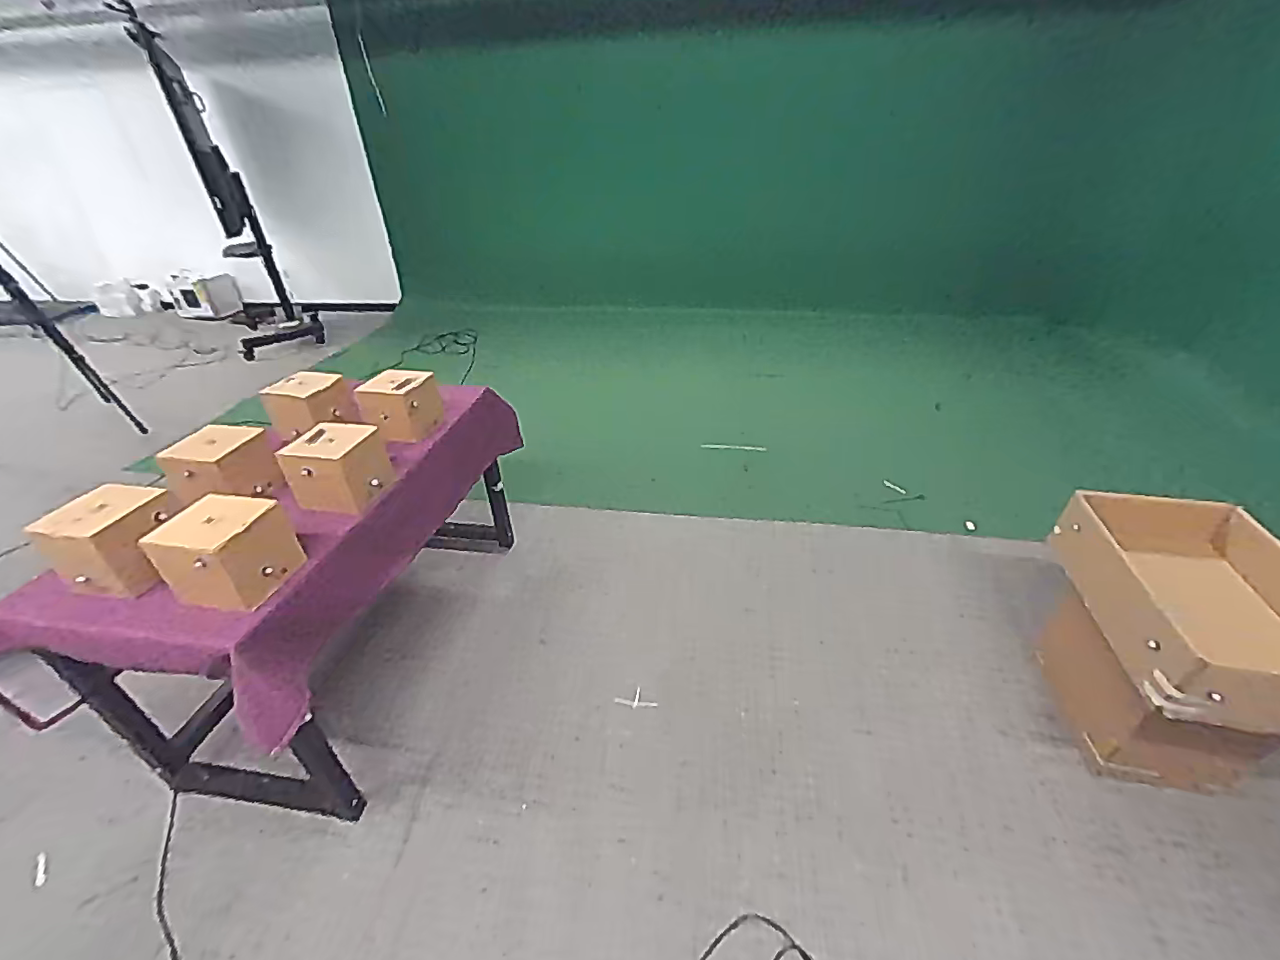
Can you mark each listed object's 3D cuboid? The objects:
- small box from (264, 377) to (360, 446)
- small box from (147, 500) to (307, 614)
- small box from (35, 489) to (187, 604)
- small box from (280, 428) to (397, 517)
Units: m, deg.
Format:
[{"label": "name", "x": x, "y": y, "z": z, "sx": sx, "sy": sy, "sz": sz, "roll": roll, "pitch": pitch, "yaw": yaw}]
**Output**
[{"label": "small box", "x": -1.028, "y": -0.210, "z": 1.713, "sx": 0.179, "sy": 0.176, "sz": 0.168, "roll": 8, "pitch": 34, "yaw": 15}, {"label": "small box", "x": -0.850, "y": 0.160, "z": 1.132, "sx": 0.179, "sy": 0.176, "sz": 0.168, "roll": 4, "pitch": 33, "yaw": 10}, {"label": "small box", "x": -1.118, "y": 0.142, "z": 1.180, "sx": 0.168, "sy": 0.176, "sz": 0.179, "roll": 4, "pitch": 33, "yaw": 11}, {"label": "small box", "x": -0.770, "y": -0.020, "z": 1.400, "sx": 0.179, "sy": 0.176, "sz": 0.168, "roll": 4, "pitch": 34, "yaw": 11}]
